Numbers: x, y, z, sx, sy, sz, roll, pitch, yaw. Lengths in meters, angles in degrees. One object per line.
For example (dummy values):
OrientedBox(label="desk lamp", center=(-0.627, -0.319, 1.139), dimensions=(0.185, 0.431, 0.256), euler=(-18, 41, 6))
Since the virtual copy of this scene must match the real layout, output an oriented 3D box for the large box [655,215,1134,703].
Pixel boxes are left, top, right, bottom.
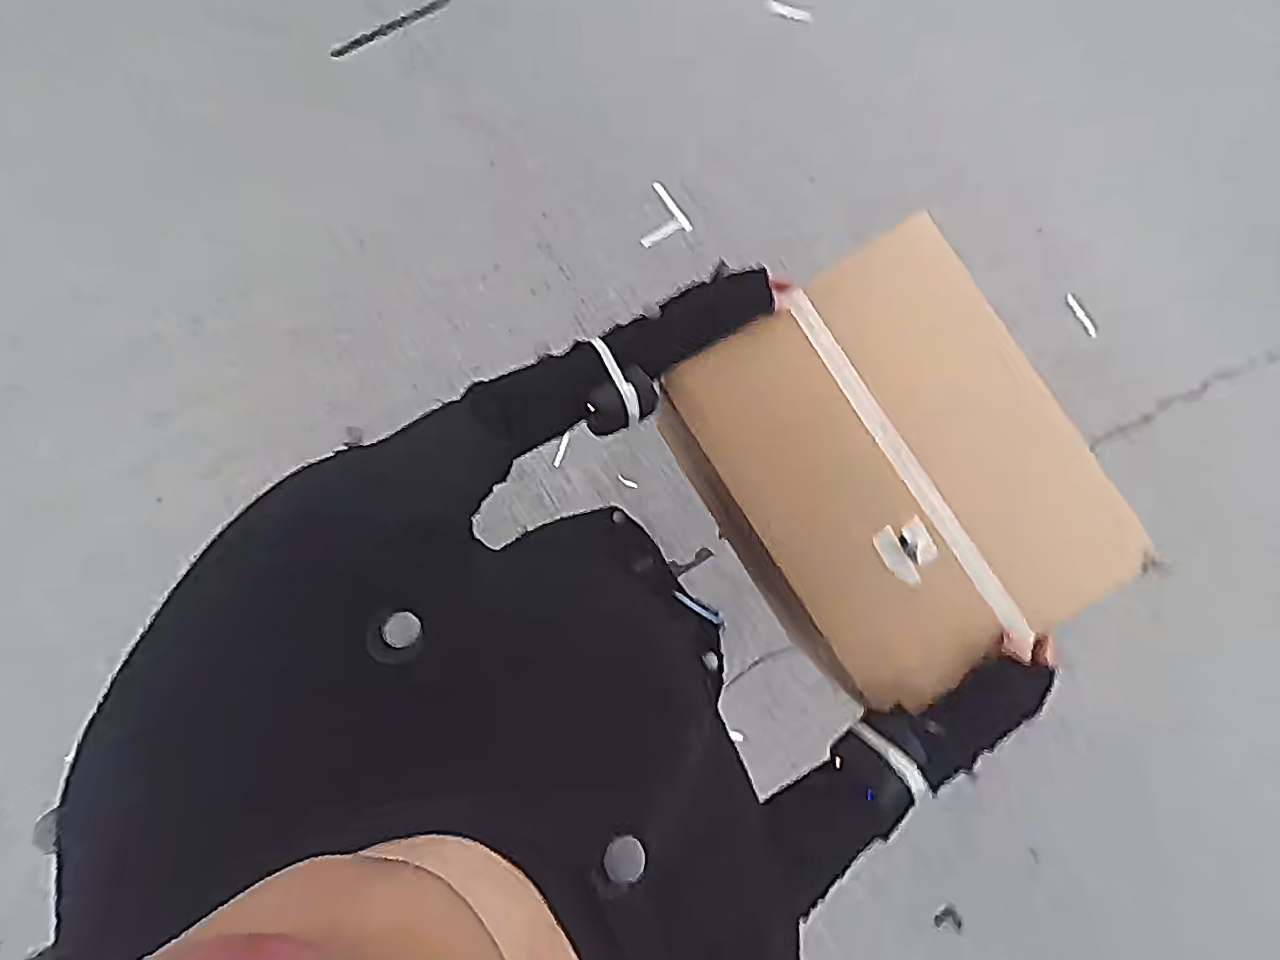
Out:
OrientedBox(label="large box", center=(0.255, -0.021, 0.686), dimensions=(0.320, 0.320, 0.408), euler=(-33, 89, 0))
